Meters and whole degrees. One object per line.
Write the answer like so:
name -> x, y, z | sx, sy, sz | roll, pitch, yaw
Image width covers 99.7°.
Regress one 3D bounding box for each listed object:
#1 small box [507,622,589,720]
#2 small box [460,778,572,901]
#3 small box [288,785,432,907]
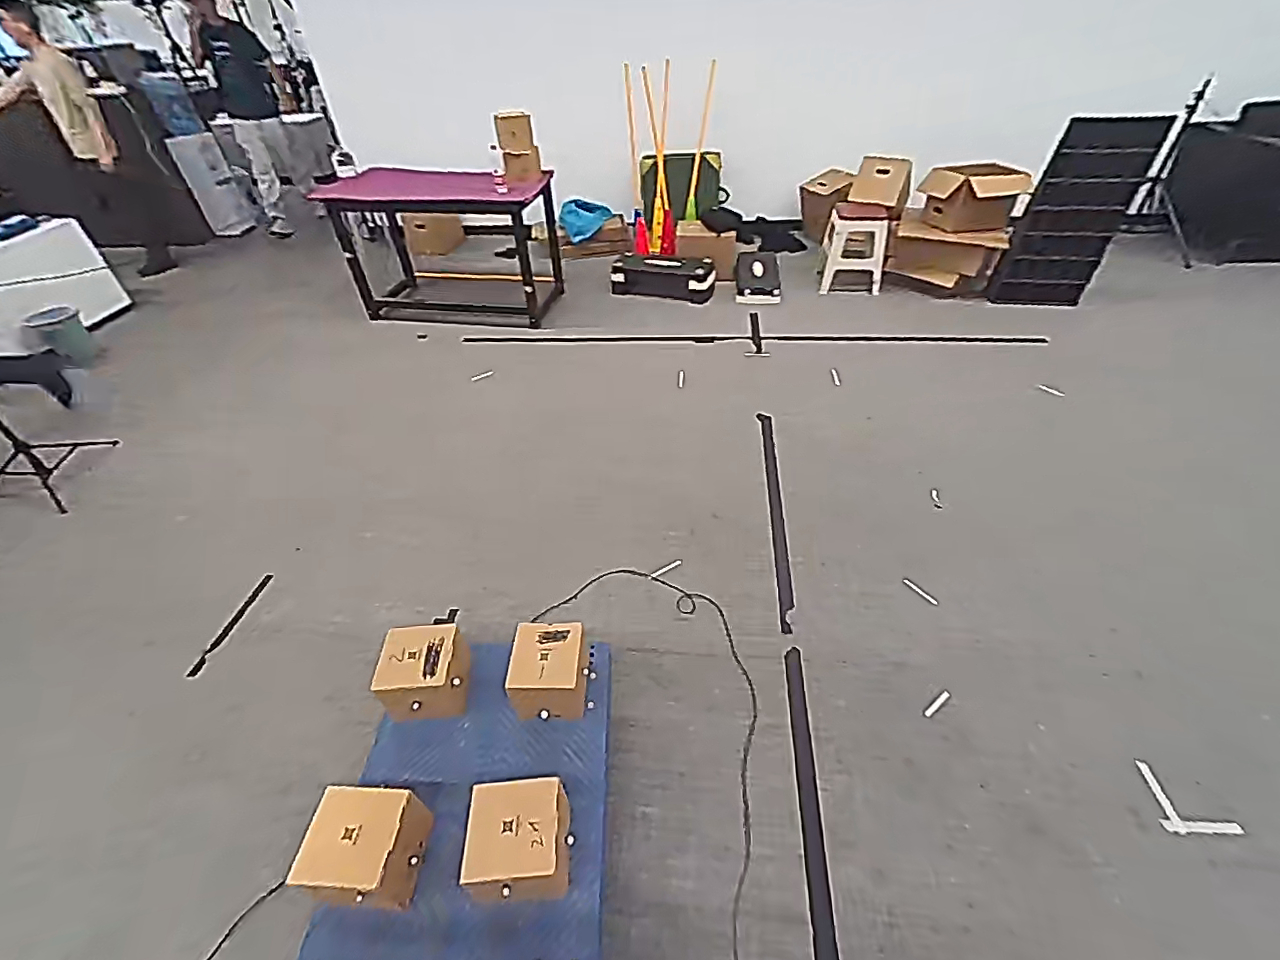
small box -> -0.221, 0.476, 1.352 | 0.168, 0.176, 0.179 | -1, 43, 3
small box -> -0.238, 0.720, 1.081 | 0.179, 0.176, 0.168 | -4, 42, -1
small box -> -0.547, 0.735, 1.085 | 0.179, 0.176, 0.168 | 1, 42, 3
